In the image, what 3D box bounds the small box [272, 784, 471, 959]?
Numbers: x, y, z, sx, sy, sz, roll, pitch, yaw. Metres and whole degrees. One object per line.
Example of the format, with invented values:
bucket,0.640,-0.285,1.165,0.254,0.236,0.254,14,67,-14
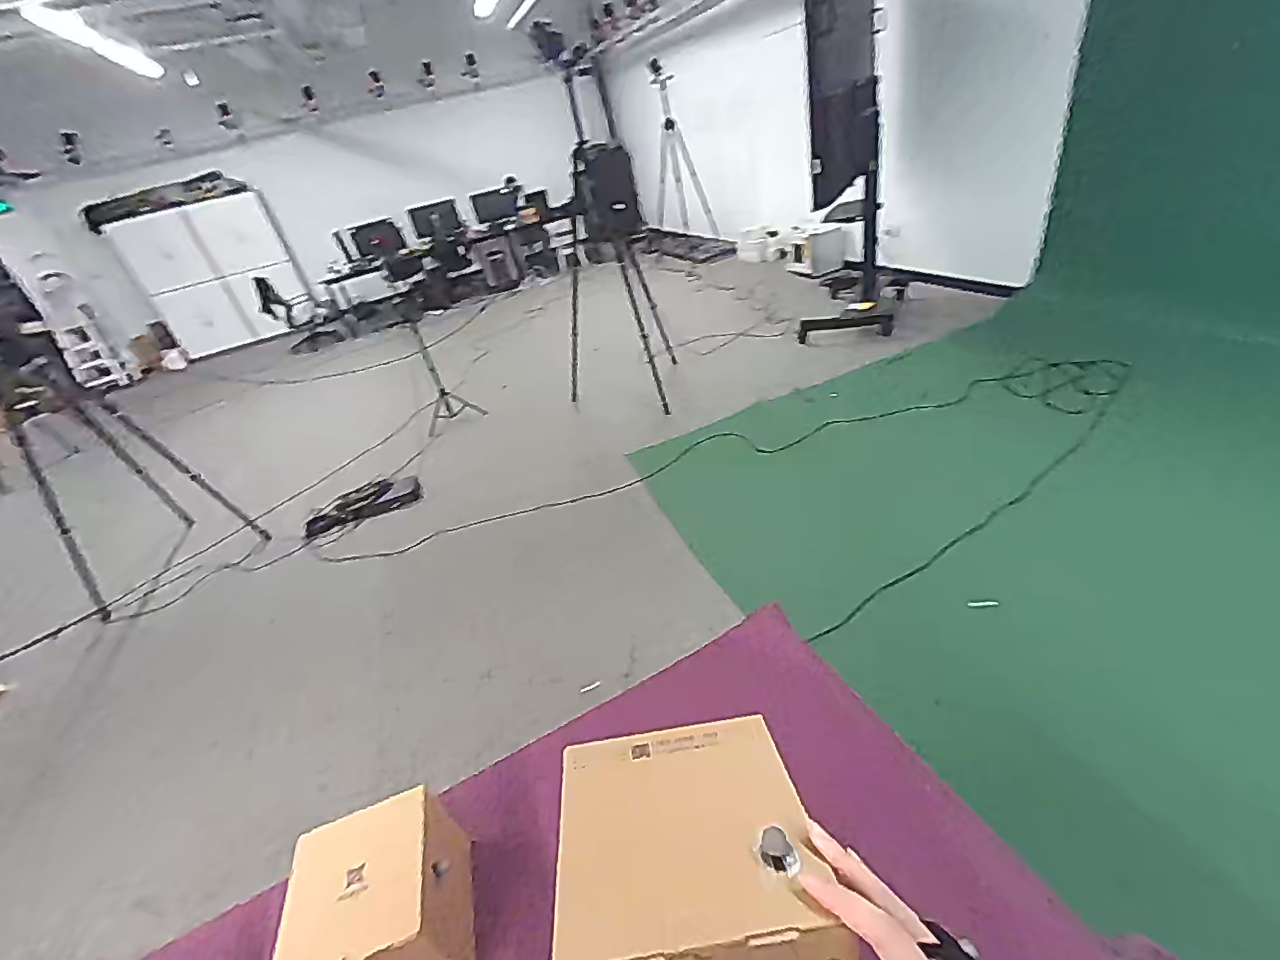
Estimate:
small box,-0.326,0.541,0.690,0.168,0.176,0.179,-20,34,-8
